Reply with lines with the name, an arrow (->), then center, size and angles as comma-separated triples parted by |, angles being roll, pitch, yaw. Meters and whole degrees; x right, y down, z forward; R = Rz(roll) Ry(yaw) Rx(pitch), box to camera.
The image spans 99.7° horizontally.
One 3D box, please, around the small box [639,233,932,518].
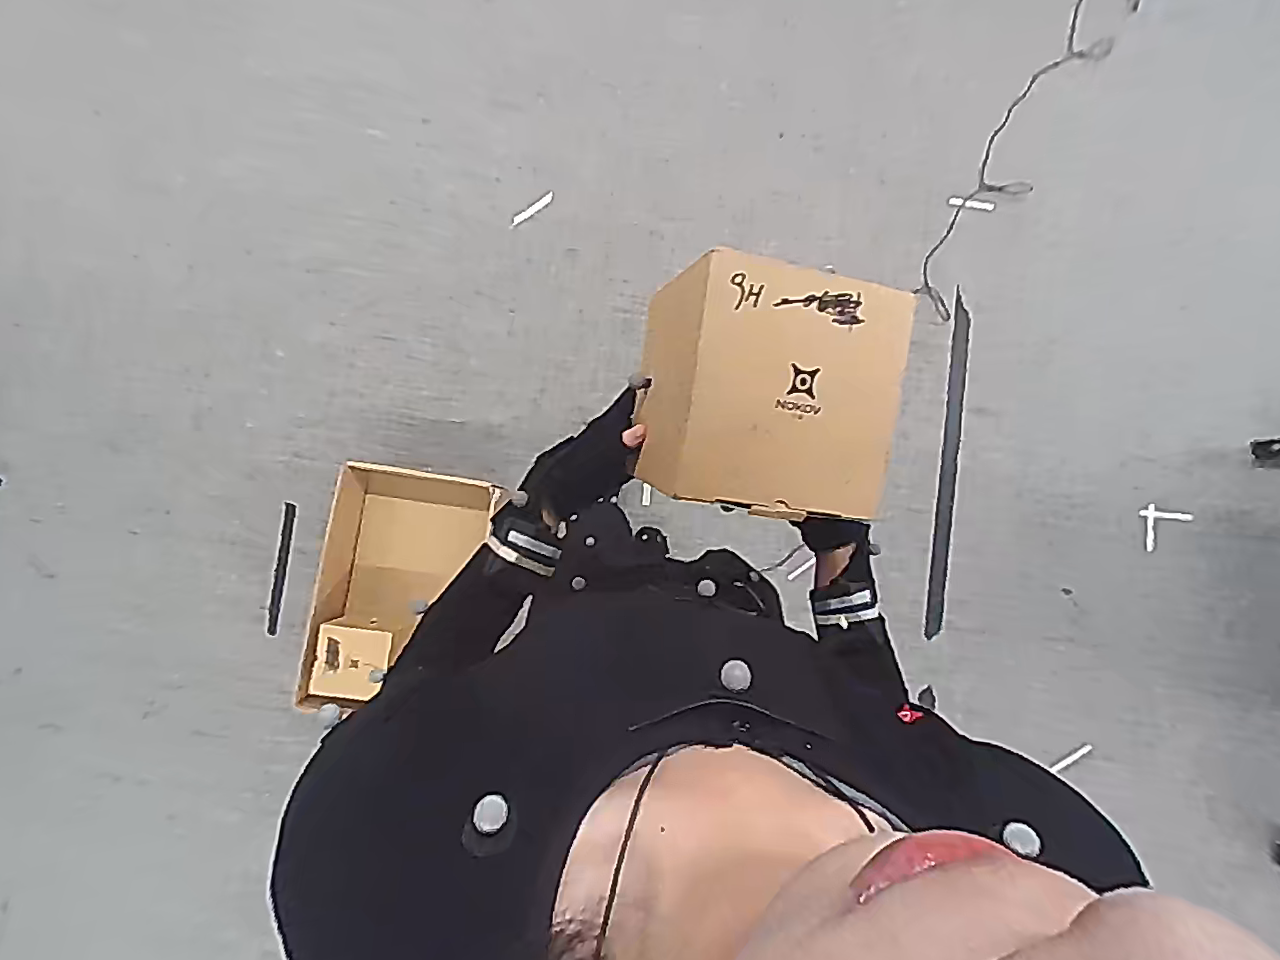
small box -> 0.102, -0.078, 0.459 | 0.168, 0.176, 0.179 | 8, 96, -14
